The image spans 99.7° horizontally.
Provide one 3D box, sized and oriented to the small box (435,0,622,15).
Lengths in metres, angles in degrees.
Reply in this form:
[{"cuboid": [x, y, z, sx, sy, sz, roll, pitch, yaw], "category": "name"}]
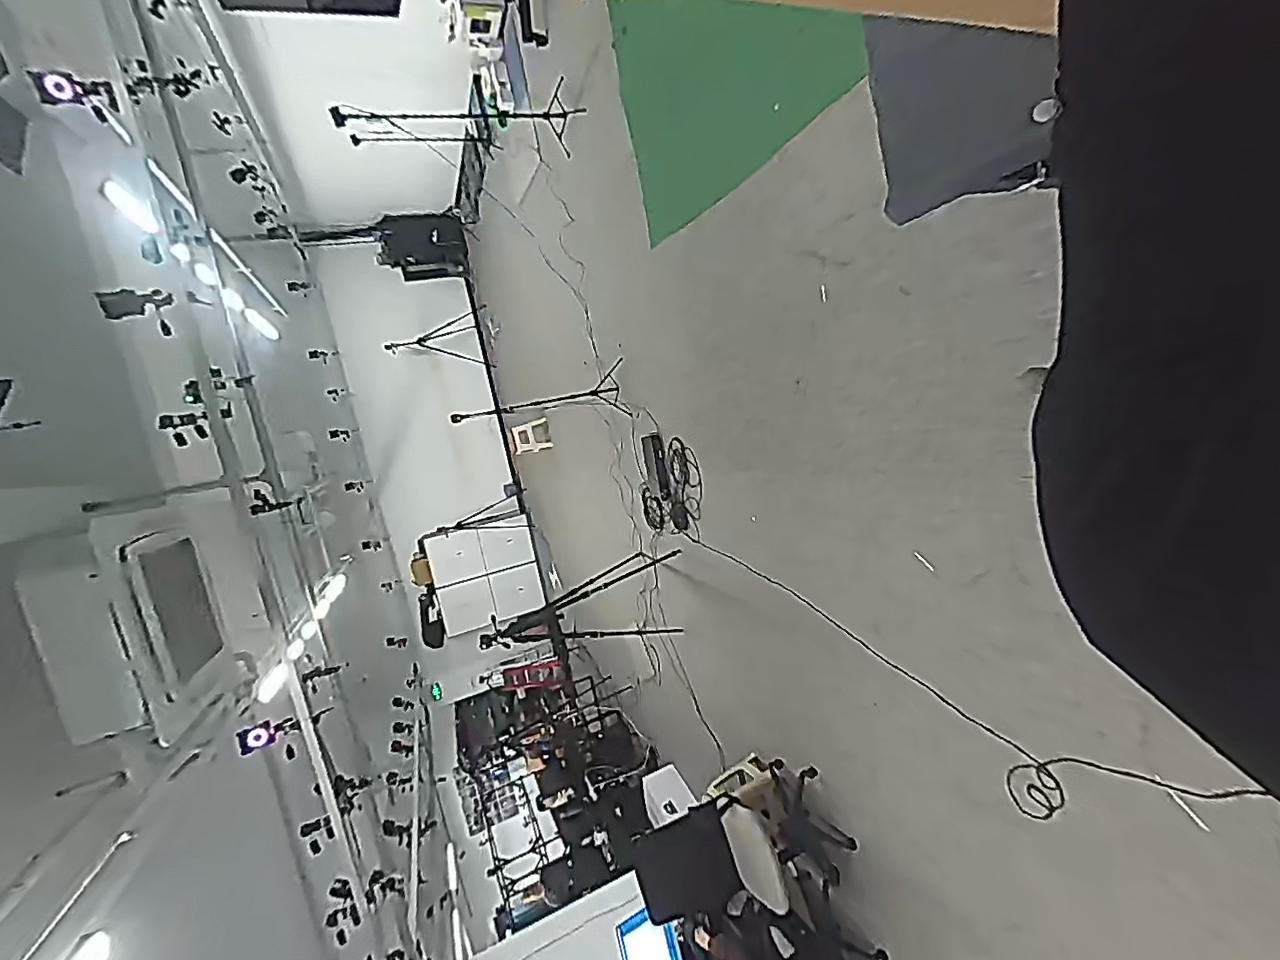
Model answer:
[{"cuboid": [-0.060, -0.431, 0.323, 0.168, 0.176, 0.179, 179, 77, -70], "category": "small box"}]
